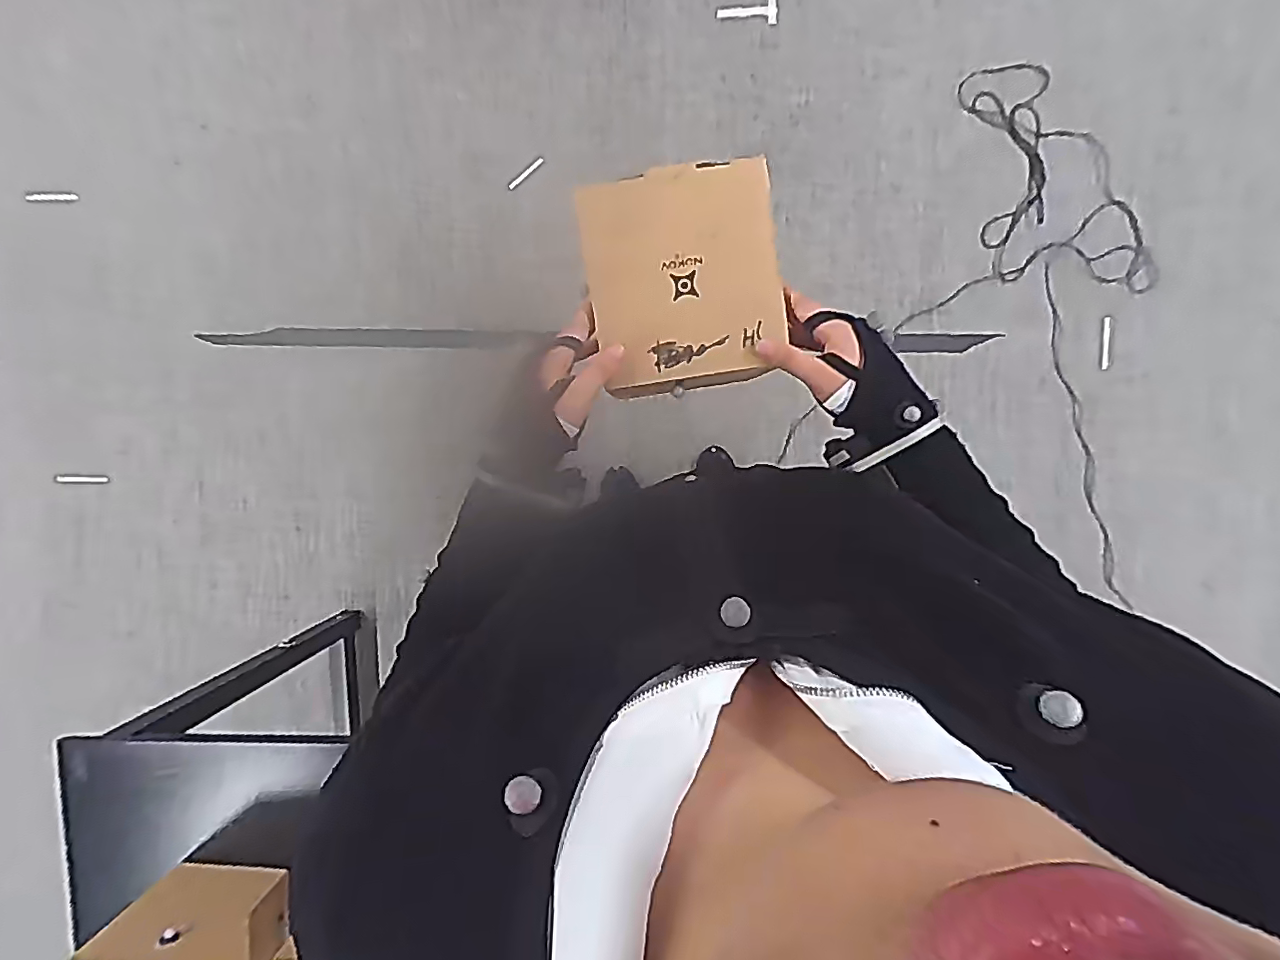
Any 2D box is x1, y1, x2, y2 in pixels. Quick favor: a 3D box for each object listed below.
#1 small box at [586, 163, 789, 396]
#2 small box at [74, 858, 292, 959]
[{"bbox_3d":[0.042,-0.187,0.554,0.168,0.176,0.179,-8,96,2],"label":"small box"},{"bbox_3d":[-0.625,0.674,0.763,0.179,0.176,0.168,2,93,3],"label":"small box"}]
